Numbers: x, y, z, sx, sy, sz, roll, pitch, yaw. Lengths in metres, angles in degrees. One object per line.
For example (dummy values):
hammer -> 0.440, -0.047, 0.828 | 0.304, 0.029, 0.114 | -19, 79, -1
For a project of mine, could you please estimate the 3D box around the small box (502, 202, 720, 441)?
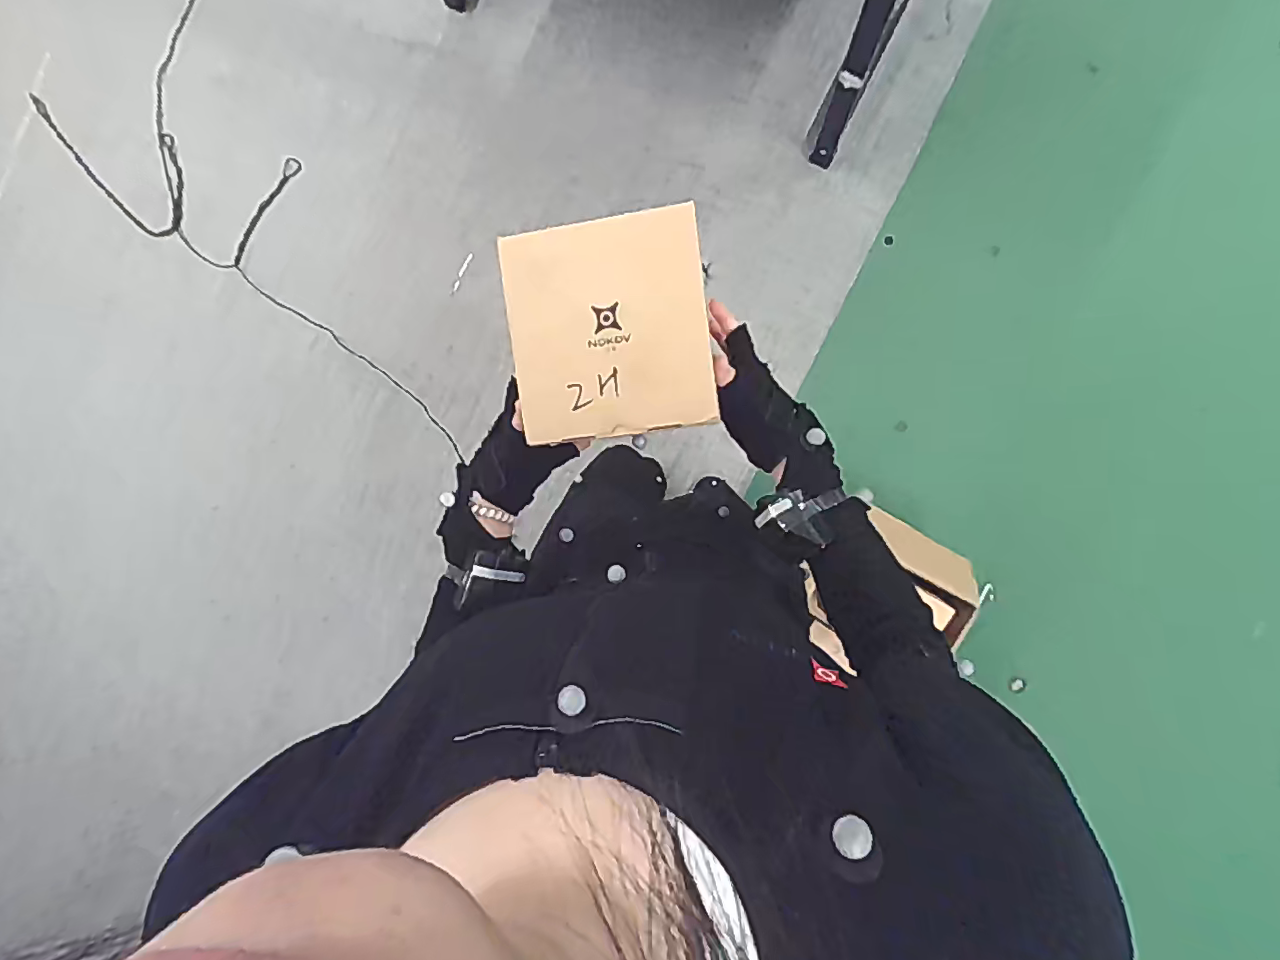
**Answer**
small box -> -0.016, -0.133, 0.521 | 0.168, 0.176, 0.179 | -7, 95, 8
